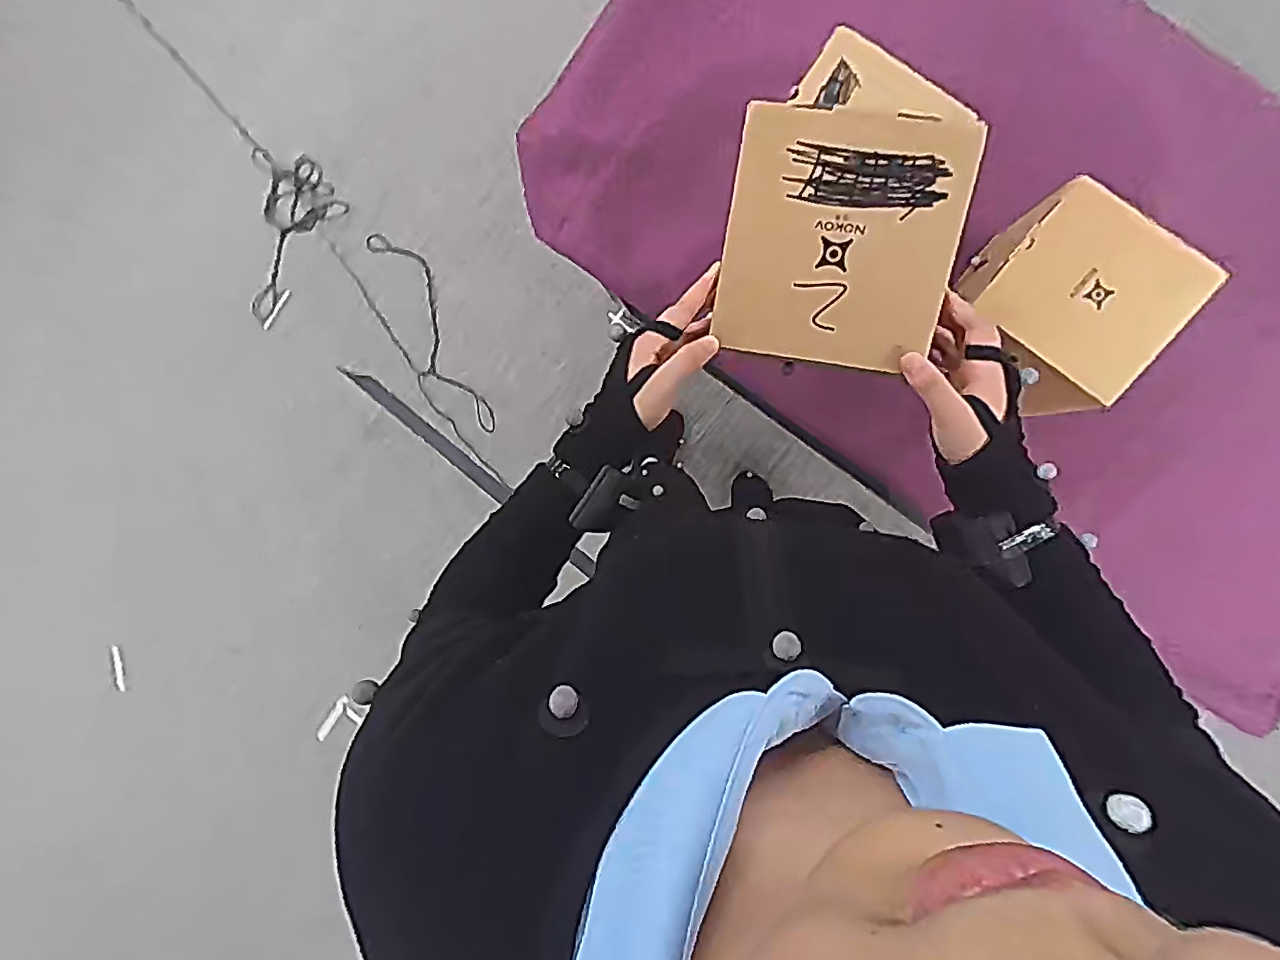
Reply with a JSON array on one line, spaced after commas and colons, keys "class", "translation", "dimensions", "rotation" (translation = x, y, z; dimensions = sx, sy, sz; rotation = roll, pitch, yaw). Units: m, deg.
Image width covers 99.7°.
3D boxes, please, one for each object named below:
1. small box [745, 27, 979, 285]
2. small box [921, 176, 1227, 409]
[{"class": "small box", "translation": [0.242, -0.364, 0.646], "dimensions": [0.179, 0.176, 0.168], "rotation": [38, 98, 4]}, {"class": "small box", "translation": [0.472, -0.196, 0.625], "dimensions": [0.179, 0.176, 0.168], "rotation": [39, 98, 6]}]
